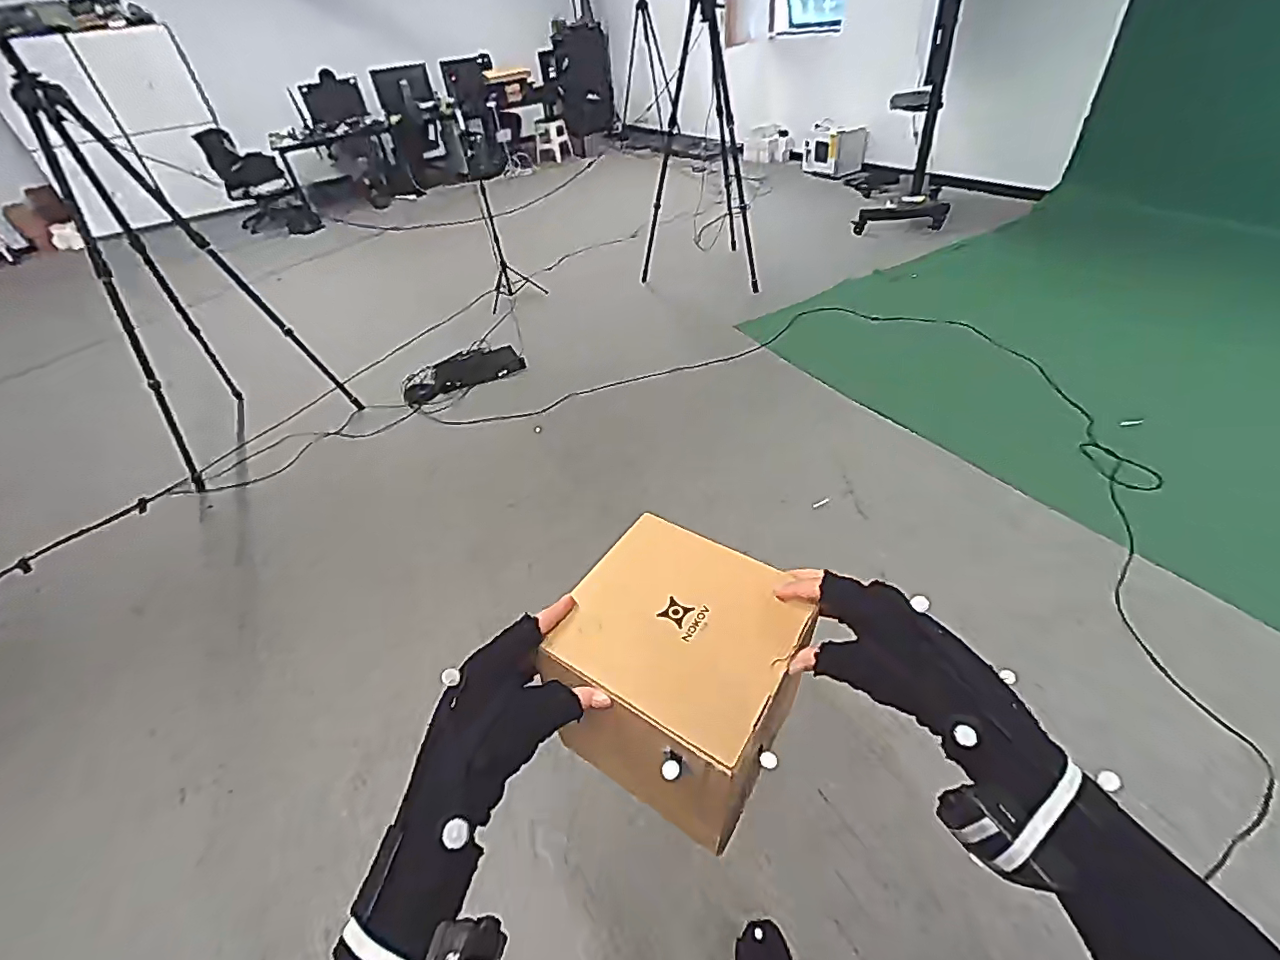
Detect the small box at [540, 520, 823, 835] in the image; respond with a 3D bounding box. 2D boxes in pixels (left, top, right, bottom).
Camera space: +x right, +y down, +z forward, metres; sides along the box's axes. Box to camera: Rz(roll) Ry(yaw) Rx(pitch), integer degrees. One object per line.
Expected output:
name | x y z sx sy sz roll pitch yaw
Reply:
small box | 0.037 0.172 0.484 0.179 0.176 0.168 23 46 26
